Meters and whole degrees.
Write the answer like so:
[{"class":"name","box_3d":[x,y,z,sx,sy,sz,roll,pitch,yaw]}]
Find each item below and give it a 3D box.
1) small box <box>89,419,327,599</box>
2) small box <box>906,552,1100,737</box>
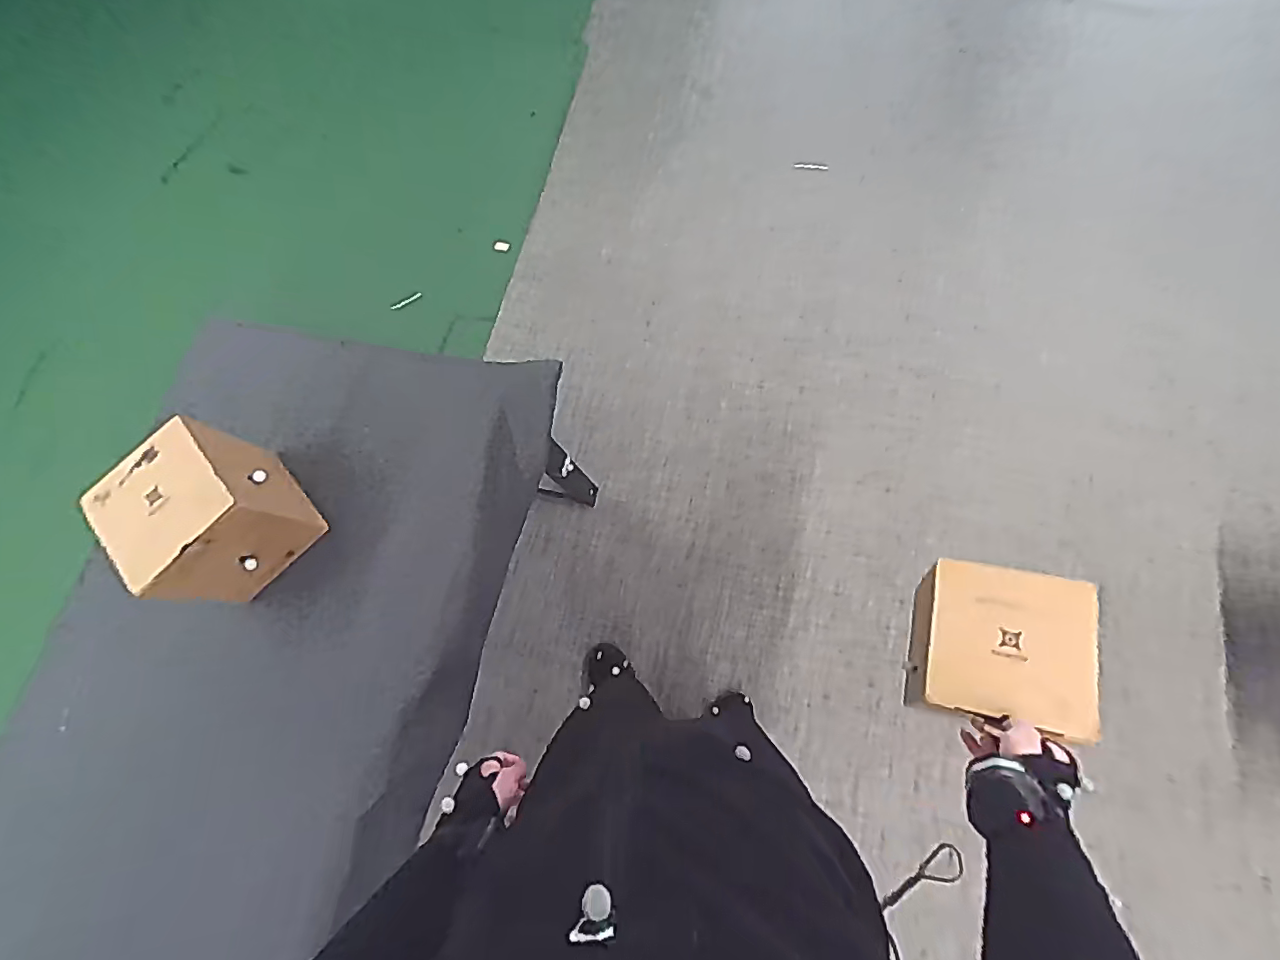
[{"class":"small box","box_3d":[-0.594,0.050,0.767,0.168,0.176,0.179,-44,74,-5]},{"class":"small box","box_3d":[0.447,0.207,0.689,0.168,0.176,0.179,8,72,19]}]
